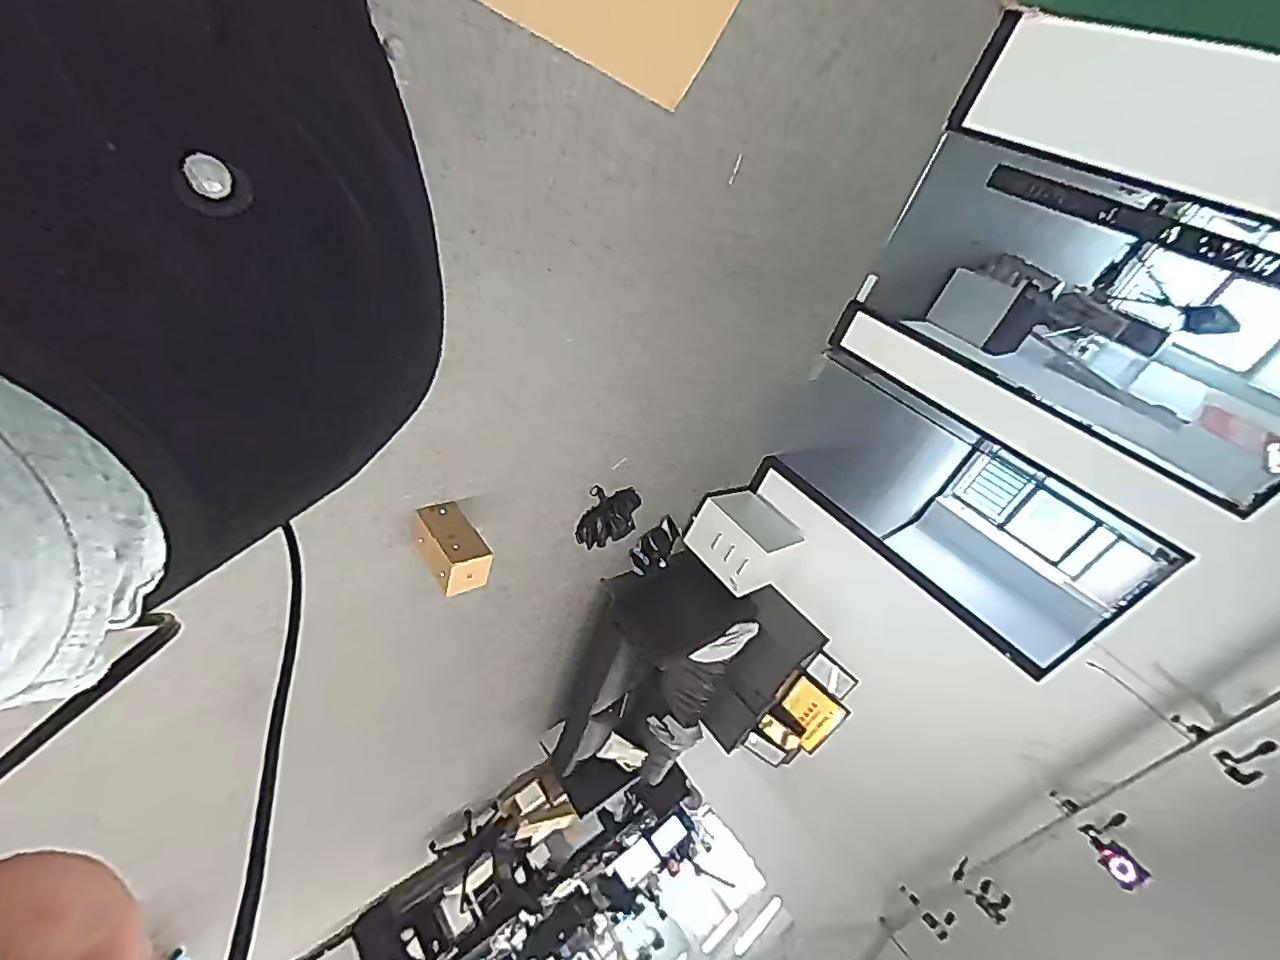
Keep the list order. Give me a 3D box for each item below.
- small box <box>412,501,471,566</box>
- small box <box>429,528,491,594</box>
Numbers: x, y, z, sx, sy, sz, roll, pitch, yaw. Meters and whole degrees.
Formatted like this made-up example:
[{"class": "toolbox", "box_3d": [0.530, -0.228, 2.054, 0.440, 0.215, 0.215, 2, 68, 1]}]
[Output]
[{"class": "small box", "box_3d": [-0.811, 0.211, 2.191, 0.168, 0.176, 0.179, -16, 139, -41]}, {"class": "small box", "box_3d": [-0.709, 0.307, 2.110, 0.168, 0.176, 0.179, -13, 139, -41]}]
